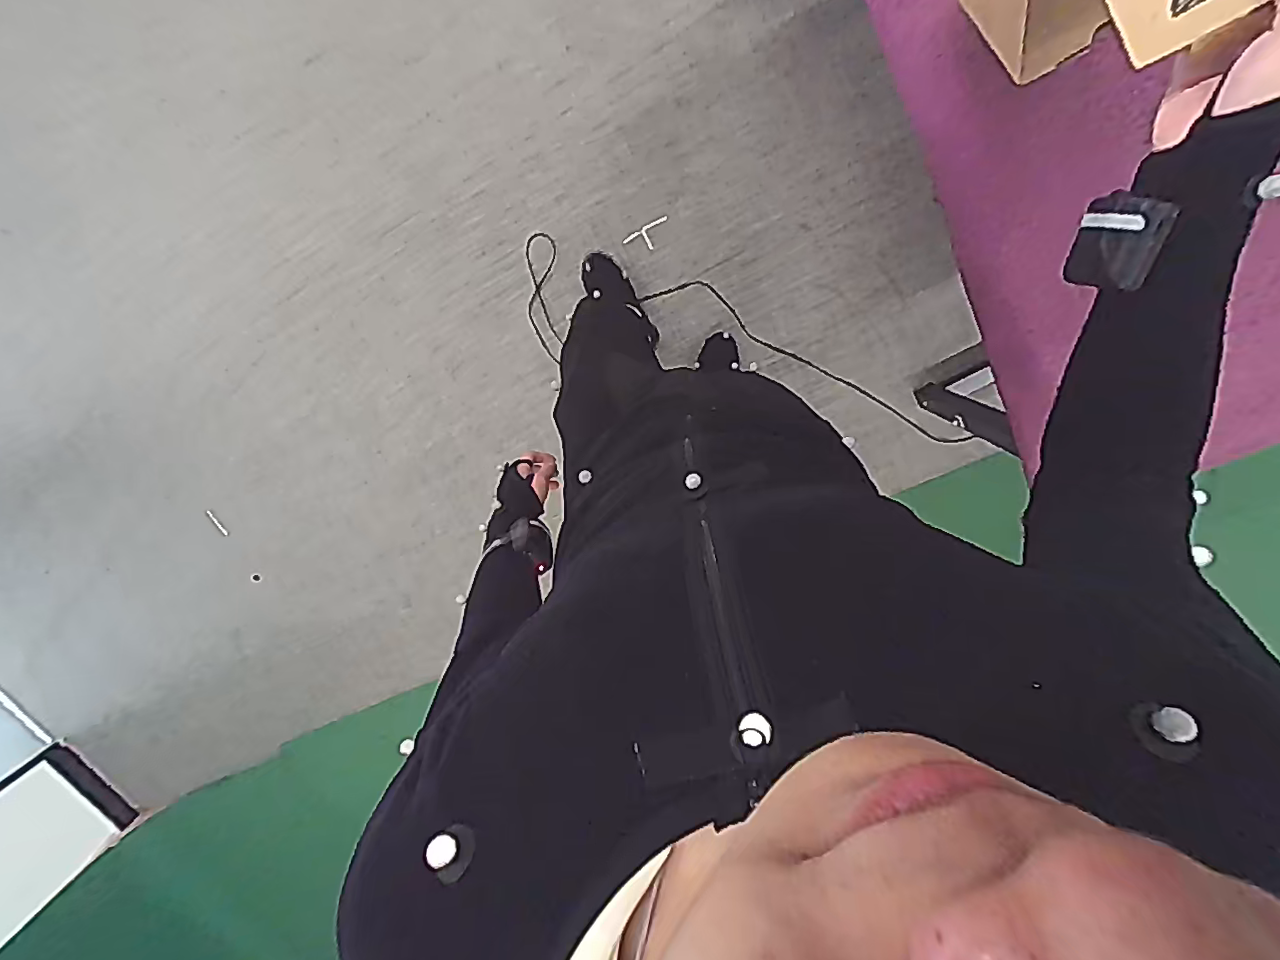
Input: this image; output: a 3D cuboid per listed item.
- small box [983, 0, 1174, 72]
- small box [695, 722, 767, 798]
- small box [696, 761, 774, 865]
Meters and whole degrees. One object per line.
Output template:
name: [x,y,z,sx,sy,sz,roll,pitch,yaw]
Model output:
small box: [0.395,-0.515,0.455,0.168,0.179,0.176,-19,62,24]
small box: [0.281,0.891,1.700,0.168,0.176,0.179,-24,104,14]
small box: [0.269,0.946,1.545,0.168,0.176,0.179,-23,105,13]
